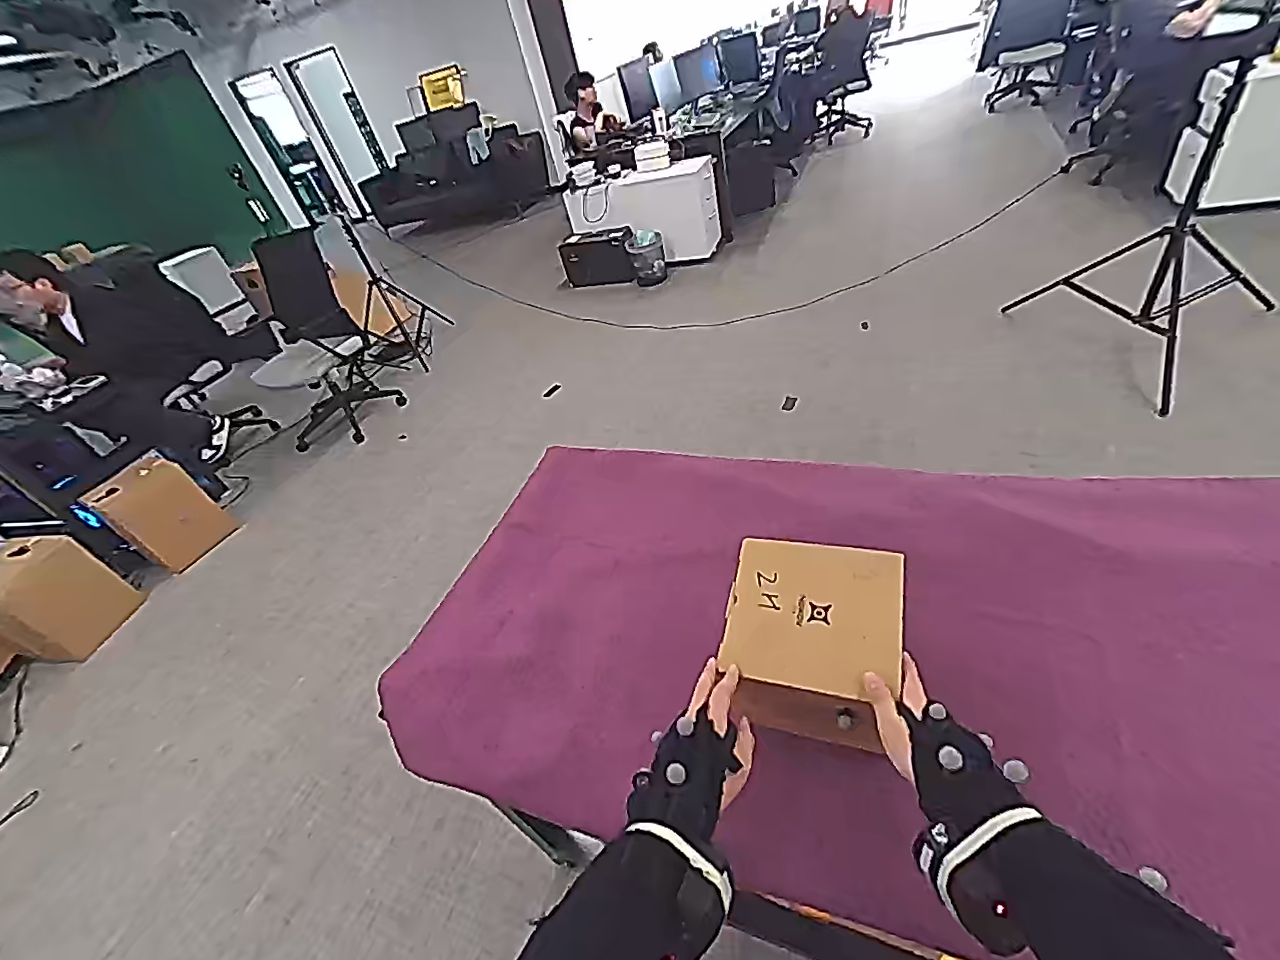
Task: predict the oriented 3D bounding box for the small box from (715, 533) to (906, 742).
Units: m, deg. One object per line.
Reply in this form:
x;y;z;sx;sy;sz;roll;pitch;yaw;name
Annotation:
0.200;0.183;0.622;0.179;0.176;0.168;4;52;23;small box
